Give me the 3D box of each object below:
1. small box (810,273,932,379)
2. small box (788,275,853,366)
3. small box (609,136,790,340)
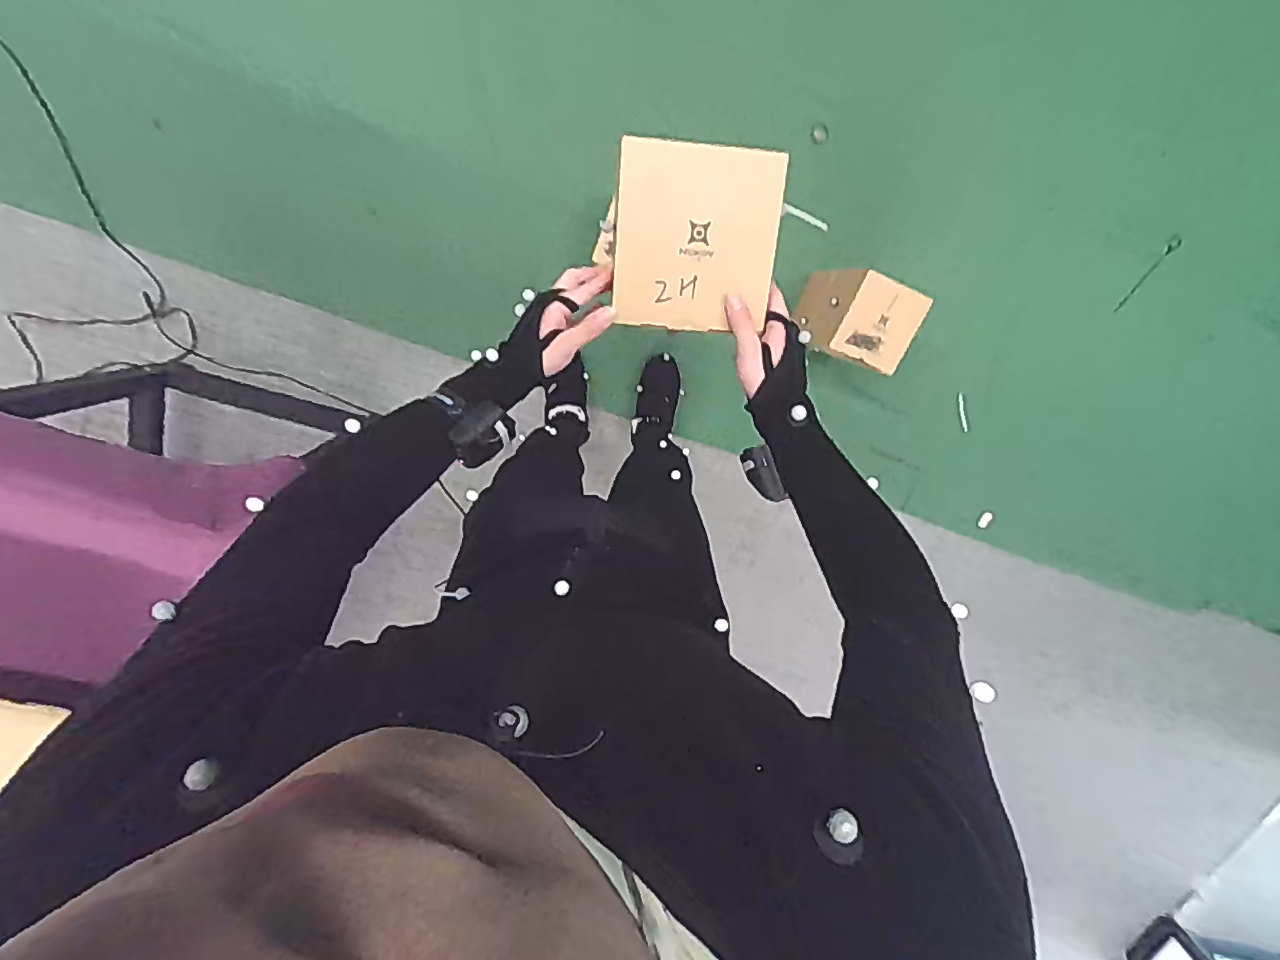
[{"bbox_3d":[0.512,-0.354,1.234,0.168,0.176,0.179,21,107,-11],"label":"small box"},{"bbox_3d":[0.504,-0.411,1.388,0.168,0.176,0.179,19,109,-10],"label":"small box"},{"bbox_3d":[0.053,-0.261,0.614,0.168,0.176,0.179,3,109,-5],"label":"small box"}]
